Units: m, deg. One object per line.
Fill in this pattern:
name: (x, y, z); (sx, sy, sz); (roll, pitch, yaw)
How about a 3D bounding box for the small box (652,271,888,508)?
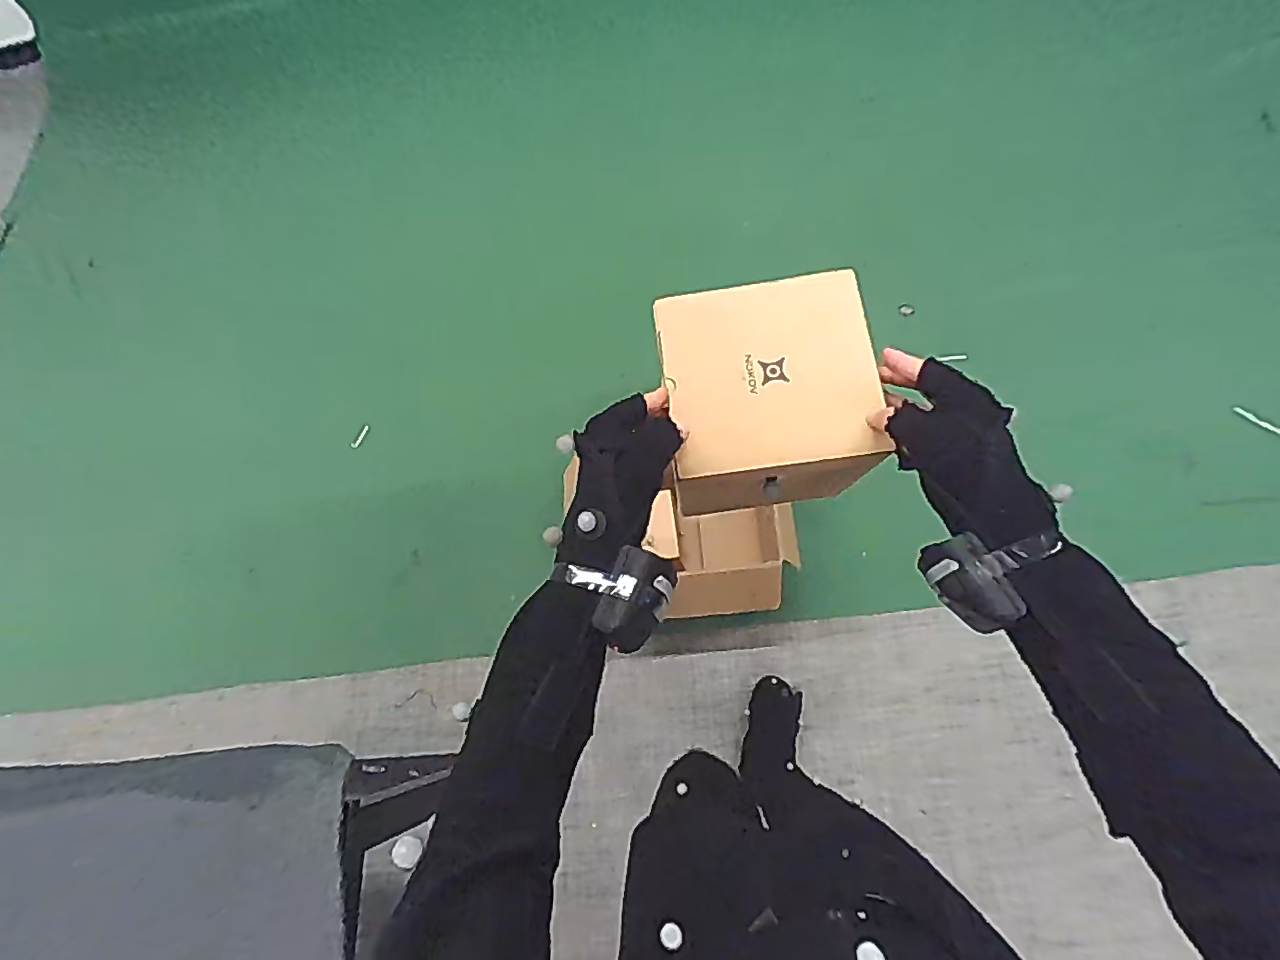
small box: (0.112, -0.073, 0.530); (0.179, 0.176, 0.168); (-8, 76, 5)
